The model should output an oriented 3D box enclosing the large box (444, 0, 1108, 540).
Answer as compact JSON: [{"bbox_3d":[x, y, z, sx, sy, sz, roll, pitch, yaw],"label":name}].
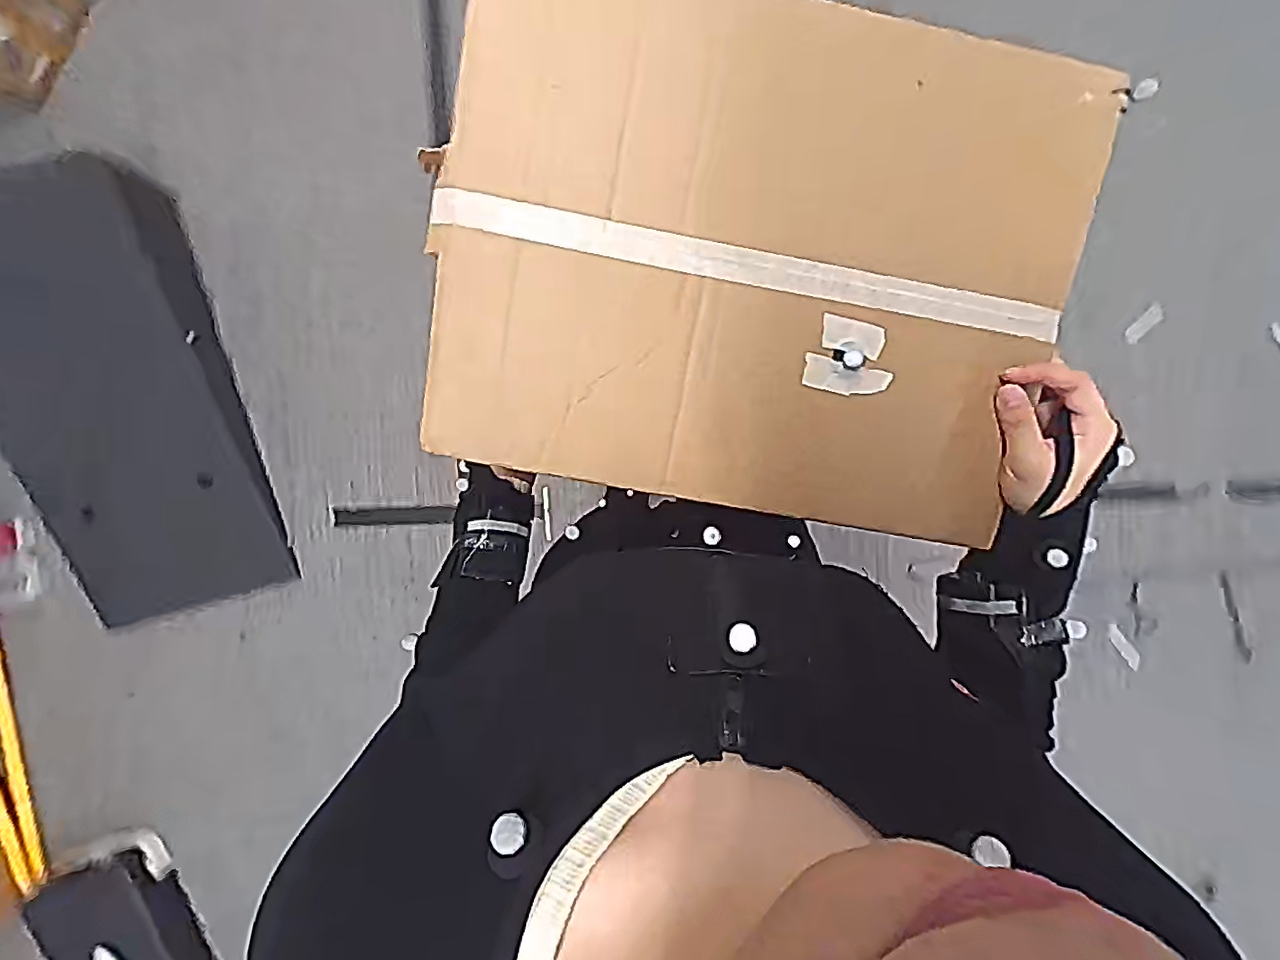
[{"bbox_3d":[0.076,-0.159,0.505,0.408,0.320,0.320,10,100,-5],"label":"large box"}]
